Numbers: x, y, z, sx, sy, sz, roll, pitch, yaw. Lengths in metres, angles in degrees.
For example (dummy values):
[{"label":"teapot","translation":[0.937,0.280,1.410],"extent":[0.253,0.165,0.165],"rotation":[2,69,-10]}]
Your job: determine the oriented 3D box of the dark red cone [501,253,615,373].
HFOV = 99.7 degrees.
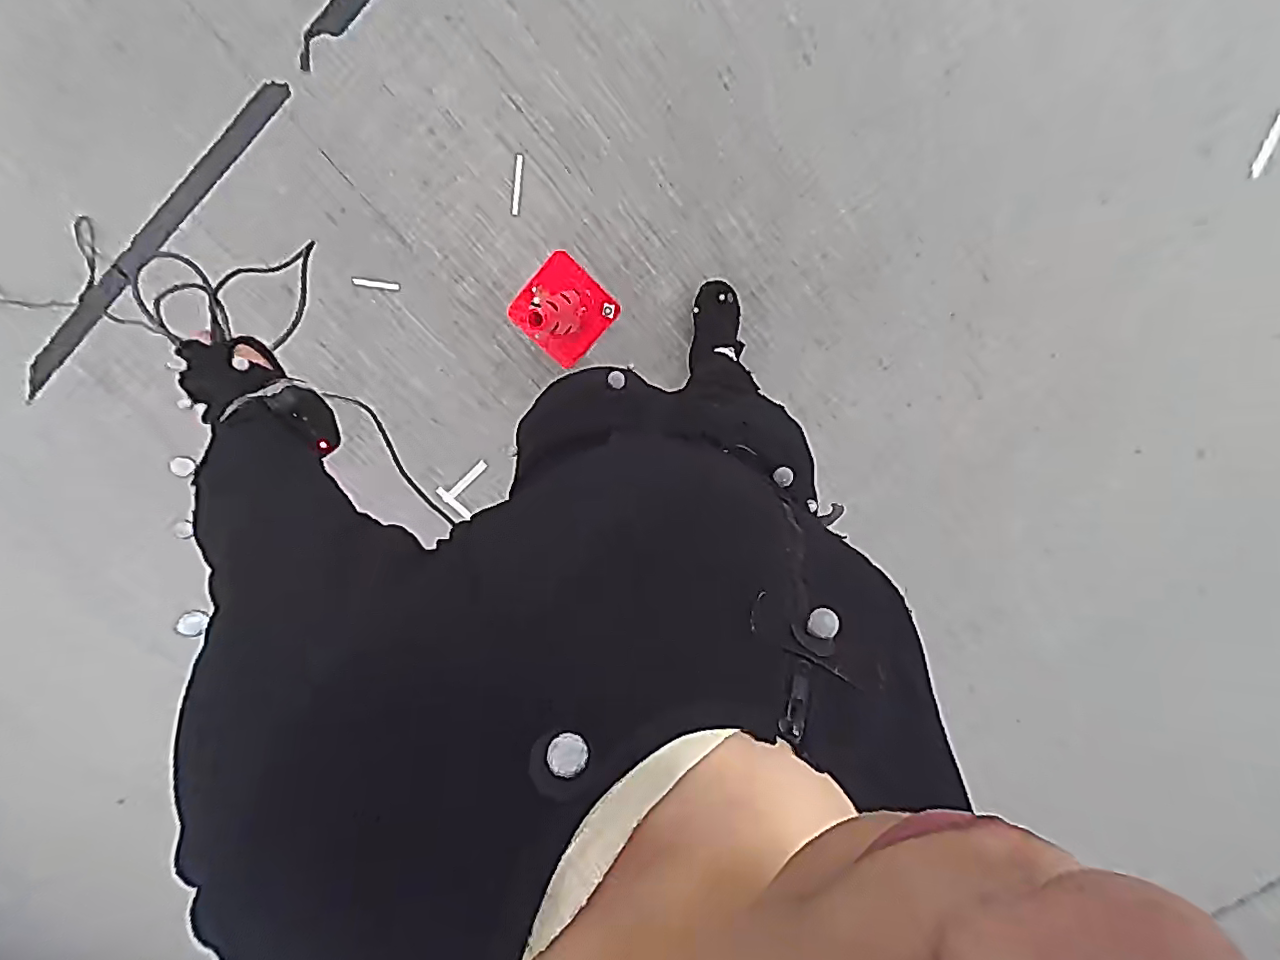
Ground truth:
[{"label":"dark red cone","translation":[-0.188,-0.319,1.062],"extent":[0.201,0.394,0.202],"rotation":[41,105,-11]}]
